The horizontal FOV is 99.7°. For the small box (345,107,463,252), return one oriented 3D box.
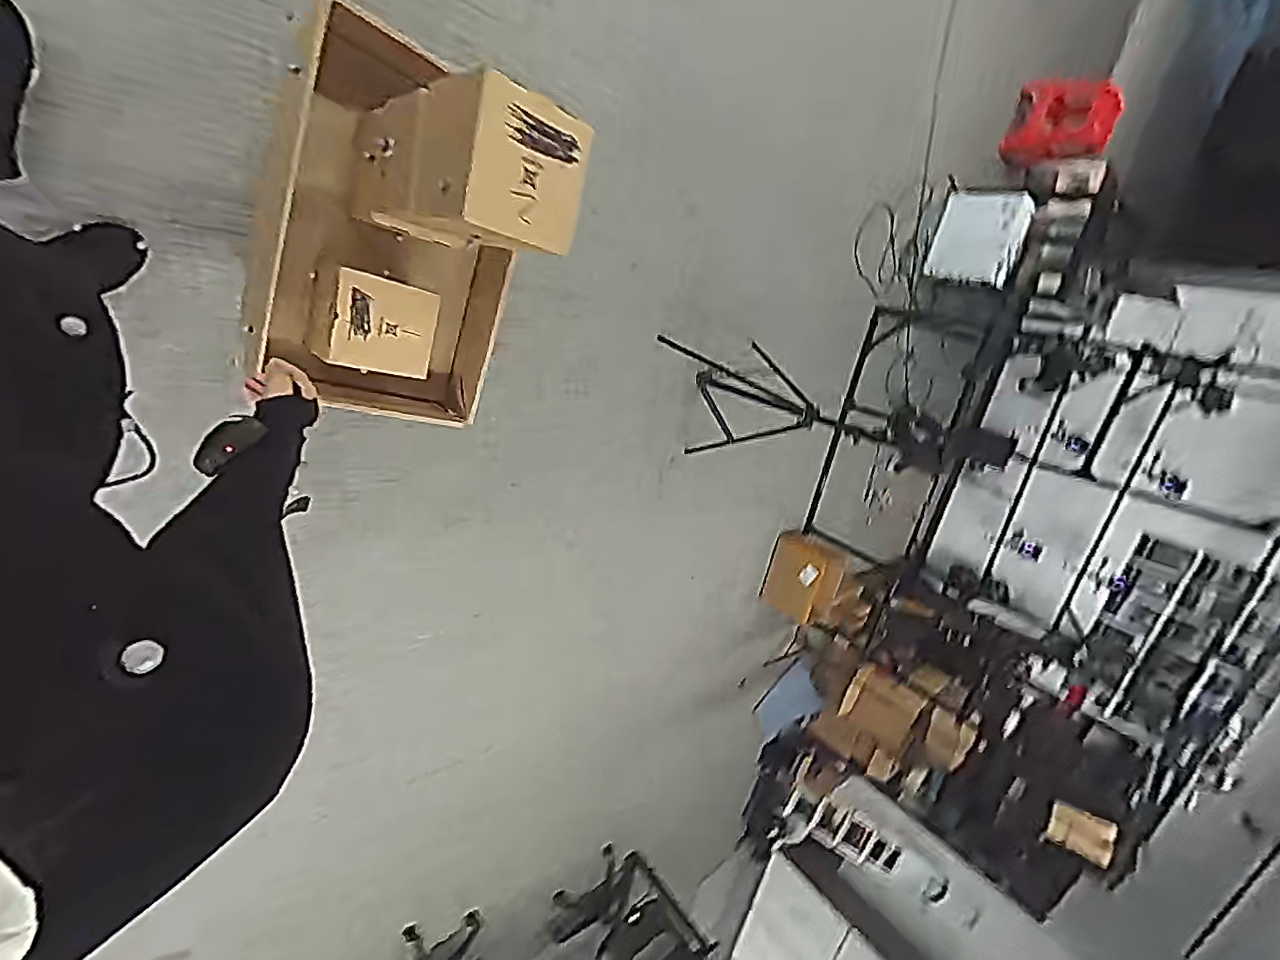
[{"bbox_3d":[-0.418,-0.537,0.983,0.168,0.176,0.179,3,110,-44],"label":"small box"}]

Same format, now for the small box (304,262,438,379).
[{"bbox_3d":[-0.512,-0.302,1.021,0.179,0.176,0.168,3,109,-46],"label":"small box"}]

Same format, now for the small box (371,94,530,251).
[{"bbox_3d":[-0.308,-0.486,0.873,0.179,0.176,0.168,-1,111,-44],"label":"small box"}]
